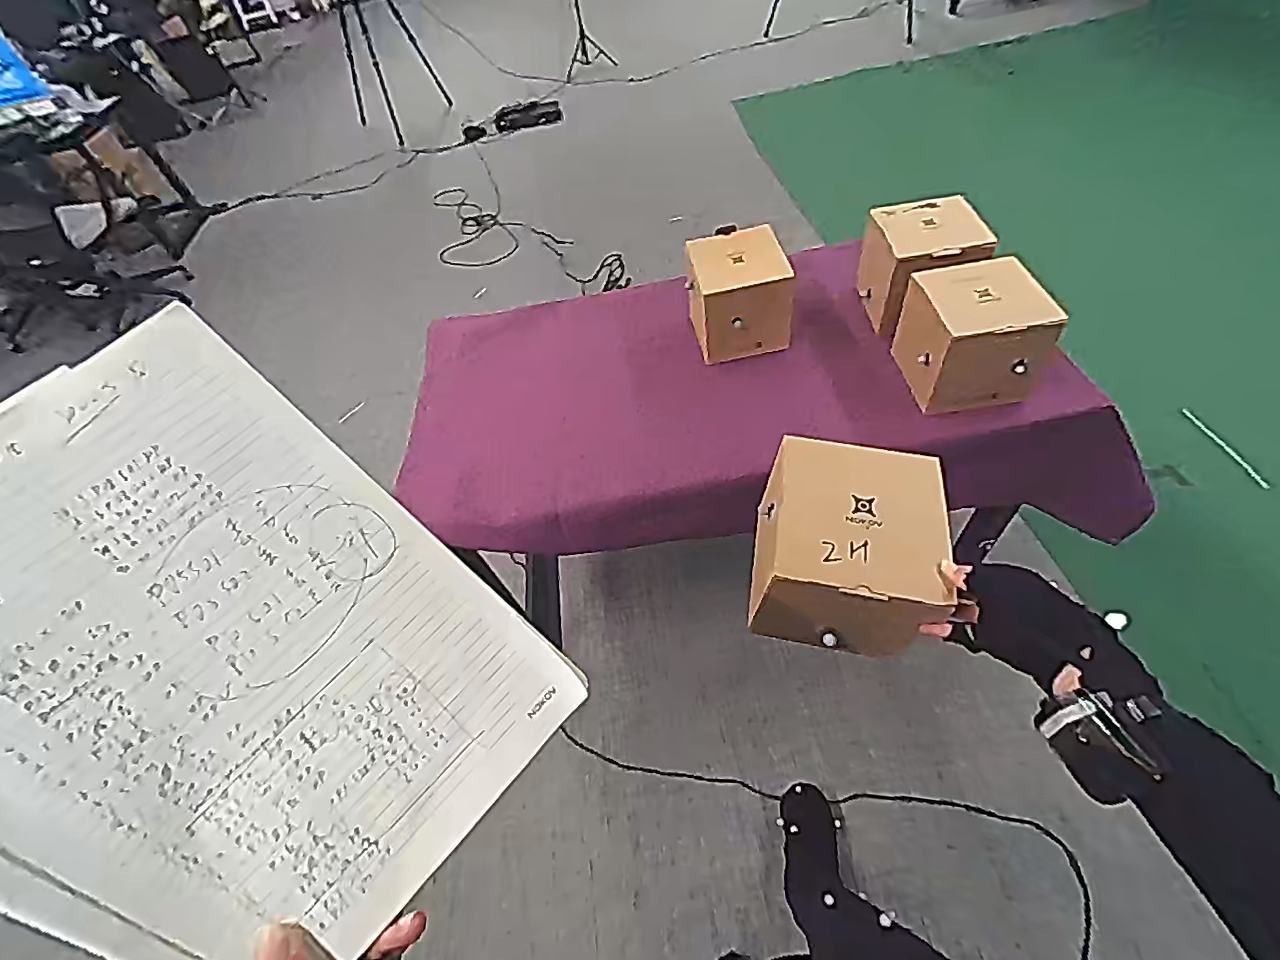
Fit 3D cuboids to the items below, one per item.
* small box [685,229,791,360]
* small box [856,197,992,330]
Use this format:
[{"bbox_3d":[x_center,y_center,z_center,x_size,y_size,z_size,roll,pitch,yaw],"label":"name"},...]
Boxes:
[{"bbox_3d":[0.190,-0.354,1.060,0.168,0.176,0.179,-12,51,2],"label":"small box"},{"bbox_3d":[0.526,-0.401,1.028,0.168,0.176,0.179,-6,53,6],"label":"small box"}]
